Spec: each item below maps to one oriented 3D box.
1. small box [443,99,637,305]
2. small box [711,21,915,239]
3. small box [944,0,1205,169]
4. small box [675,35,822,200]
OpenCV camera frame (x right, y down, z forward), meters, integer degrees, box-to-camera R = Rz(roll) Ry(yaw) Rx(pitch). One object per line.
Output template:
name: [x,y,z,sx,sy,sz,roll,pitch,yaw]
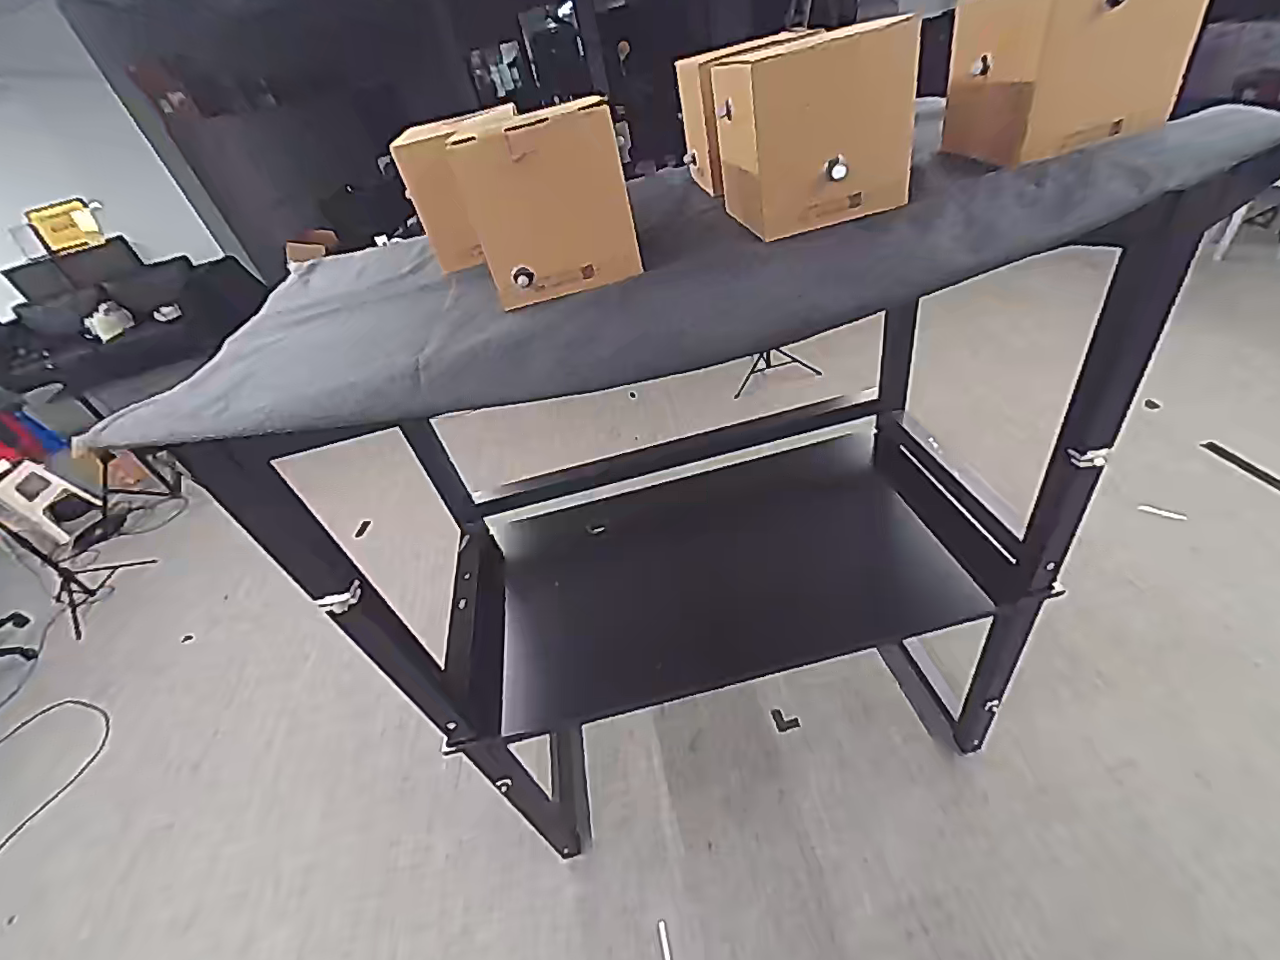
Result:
small box: [-0.106,-0.321,0.632,0.168,0.176,0.179,-14,37,1]
small box: [0.187,-0.395,0.624,0.168,0.176,0.179,-14,37,2]
small box: [0.484,-0.481,0.631,0.168,0.176,0.179,-13,38,4]
small box: [0.161,-0.548,0.821,0.179,0.176,0.168,-14,38,2]
